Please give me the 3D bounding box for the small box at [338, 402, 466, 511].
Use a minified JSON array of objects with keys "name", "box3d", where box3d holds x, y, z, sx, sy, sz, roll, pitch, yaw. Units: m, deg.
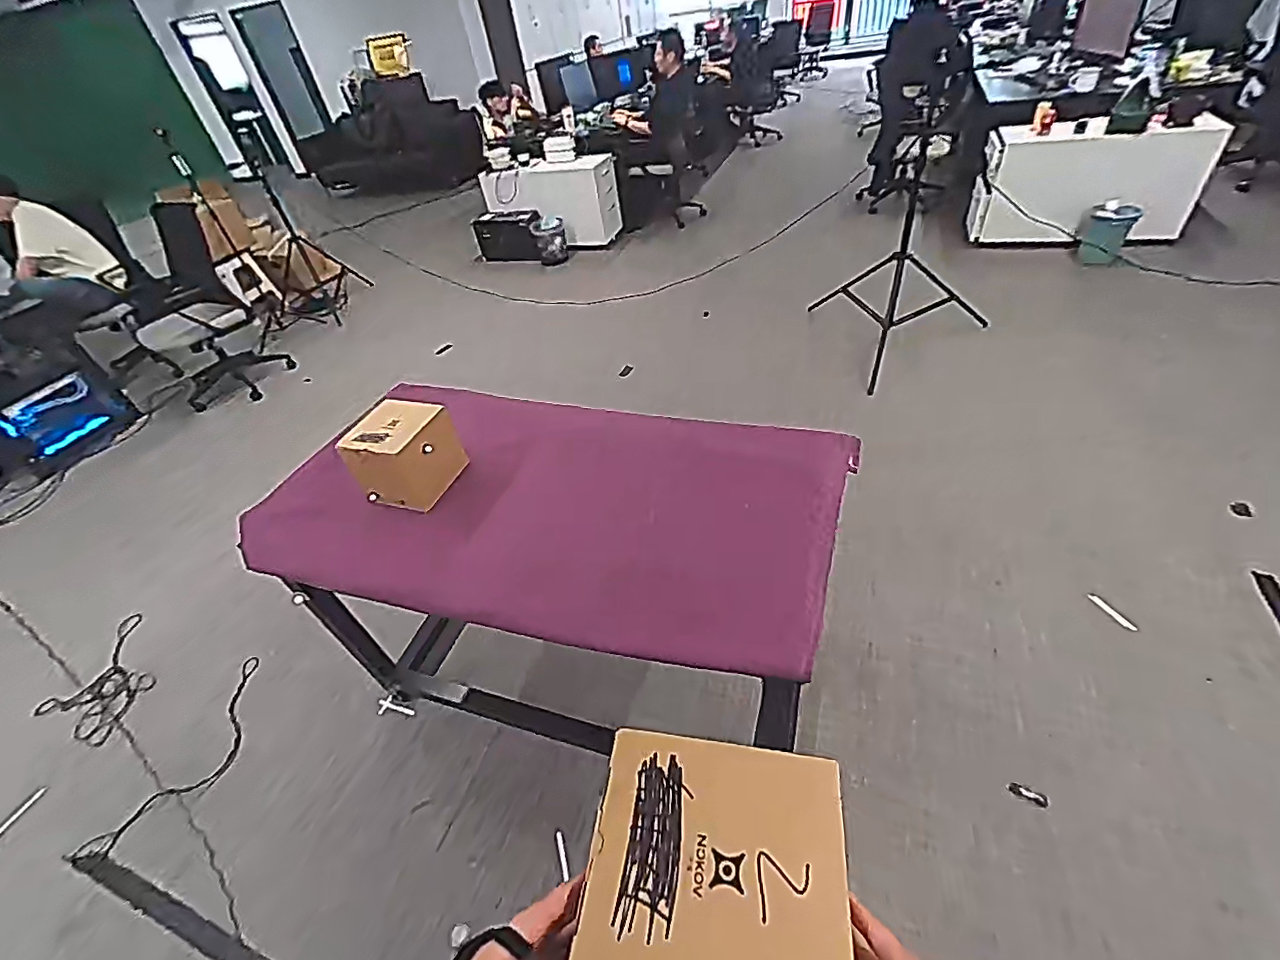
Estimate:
[{"name":"small box","box3d":[-0.520,-0.053,1.213,0.168,0.176,0.179,8,45,19]}]
